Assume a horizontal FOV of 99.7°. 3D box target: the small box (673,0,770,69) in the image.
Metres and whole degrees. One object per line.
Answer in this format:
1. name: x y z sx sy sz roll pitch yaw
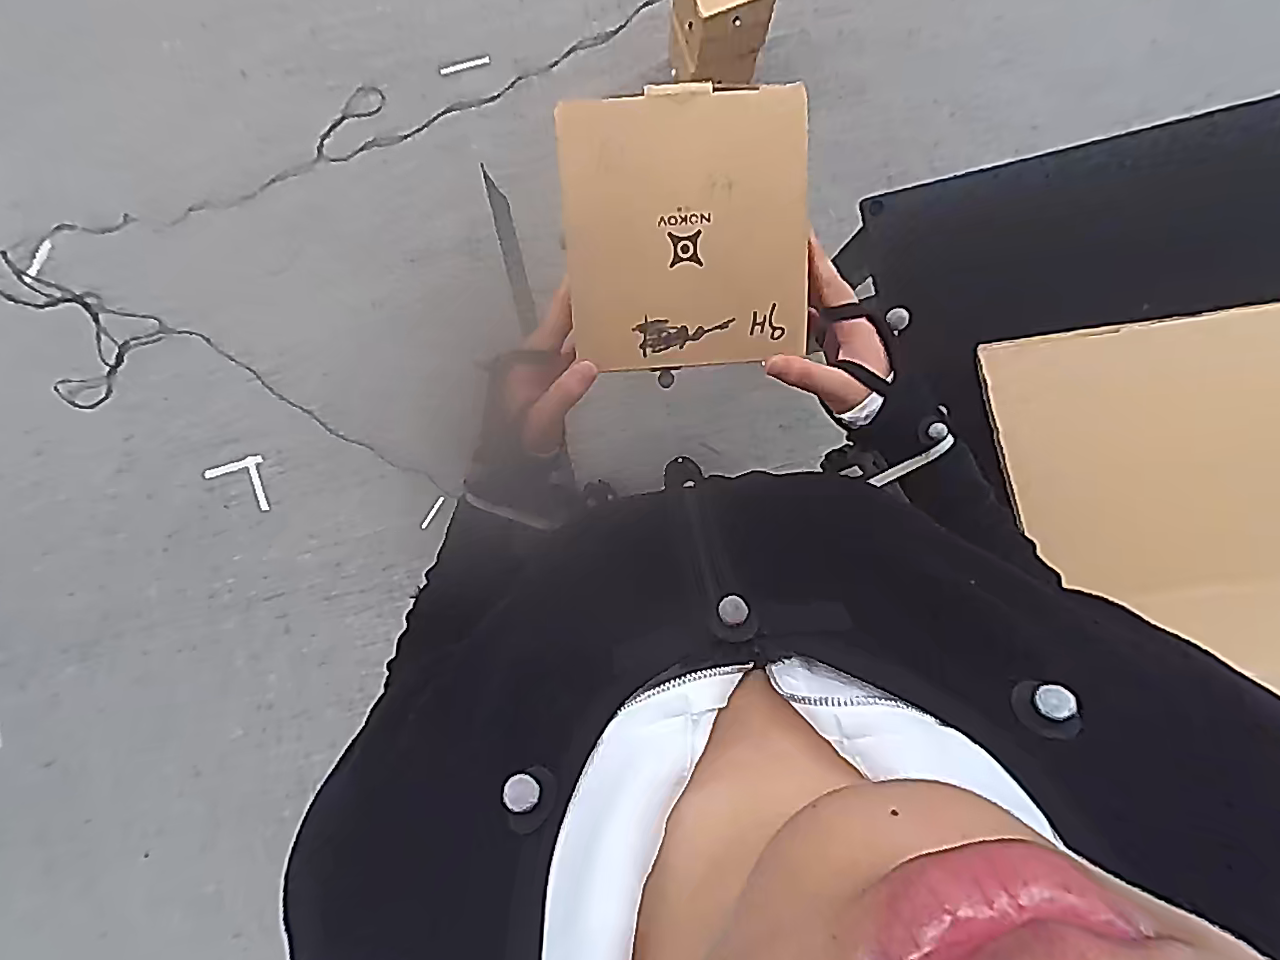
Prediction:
1. small box: 0.178 -1.066 1.197 0.179 0.176 0.168 -21 93 1

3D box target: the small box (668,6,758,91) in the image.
1. small box: 0.176 -1.070 1.360 0.179 0.176 0.168 -18 92 3

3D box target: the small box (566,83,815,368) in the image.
1. small box: 0.036 -0.185 0.445 0.168 0.176 0.179 -4 103 1
